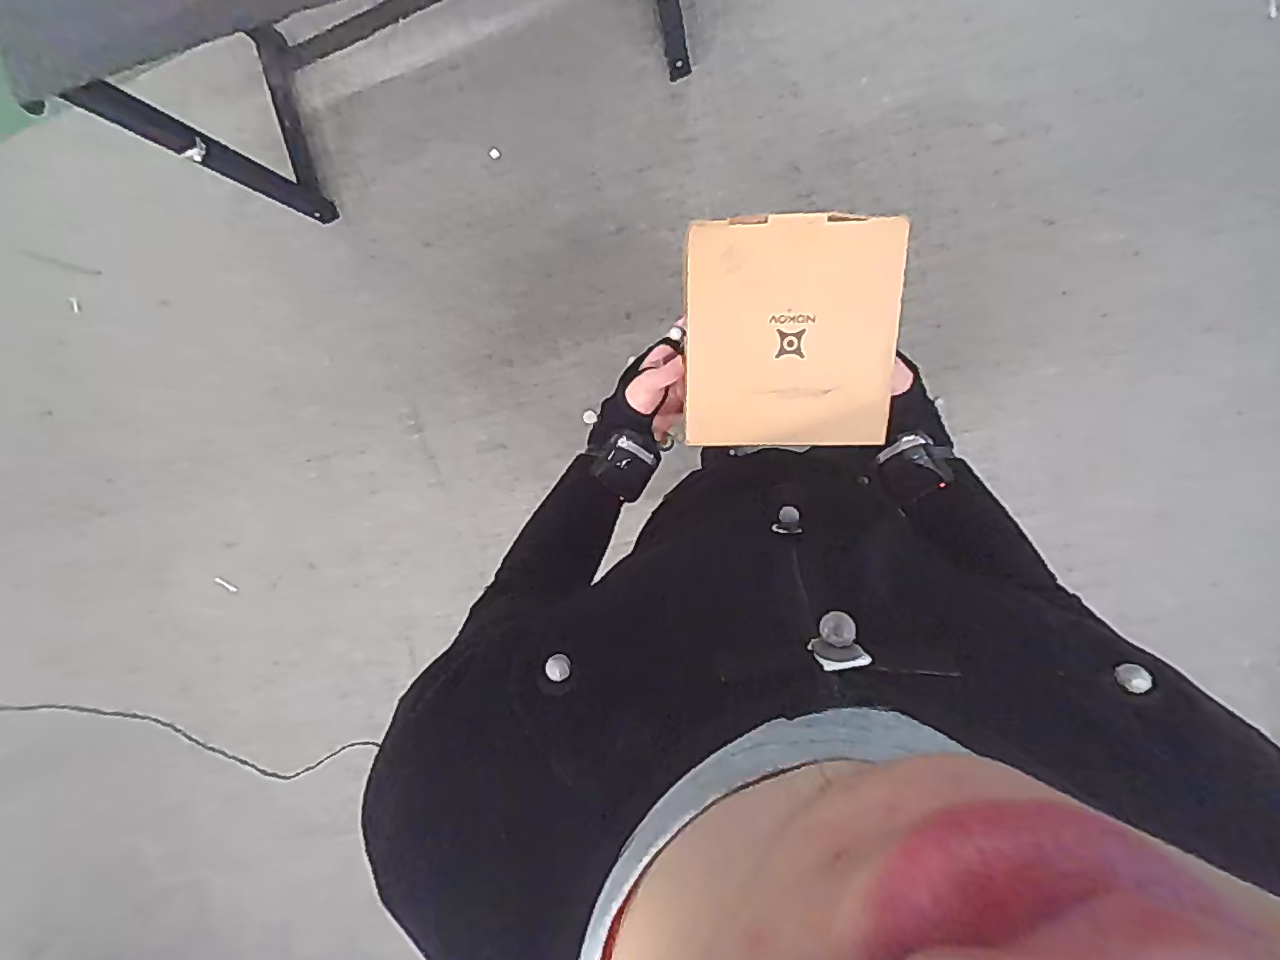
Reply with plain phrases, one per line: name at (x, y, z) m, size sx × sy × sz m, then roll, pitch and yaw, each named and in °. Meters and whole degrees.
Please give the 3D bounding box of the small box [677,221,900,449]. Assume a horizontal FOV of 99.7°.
small box at (0.119, -0.133, 0.507) m, size 0.168 × 0.176 × 0.179 m, roll 1°, pitch 107°, yaw 5°
